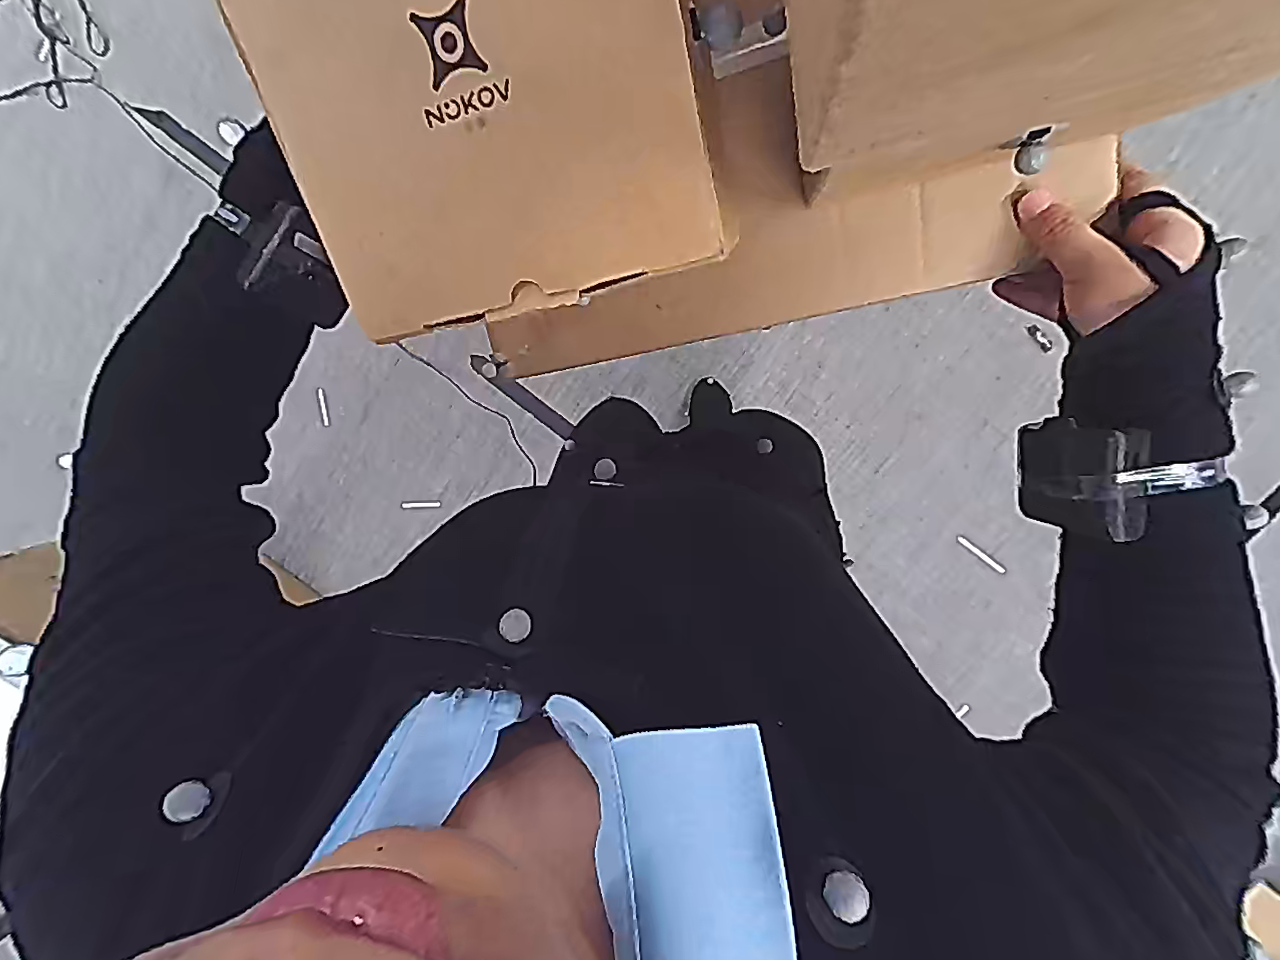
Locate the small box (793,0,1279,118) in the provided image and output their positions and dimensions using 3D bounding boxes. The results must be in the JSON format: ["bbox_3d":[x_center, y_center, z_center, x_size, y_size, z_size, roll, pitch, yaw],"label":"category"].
[{"bbox_3d":[0.101,-0.168,0.056,0.179,0.176,0.168,-7,109,16],"label":"small box"}]

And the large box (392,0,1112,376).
[{"bbox_3d":[0.083,-0.303,0.460,0.408,0.320,0.320,-9,106,18],"label":"large box"}]
